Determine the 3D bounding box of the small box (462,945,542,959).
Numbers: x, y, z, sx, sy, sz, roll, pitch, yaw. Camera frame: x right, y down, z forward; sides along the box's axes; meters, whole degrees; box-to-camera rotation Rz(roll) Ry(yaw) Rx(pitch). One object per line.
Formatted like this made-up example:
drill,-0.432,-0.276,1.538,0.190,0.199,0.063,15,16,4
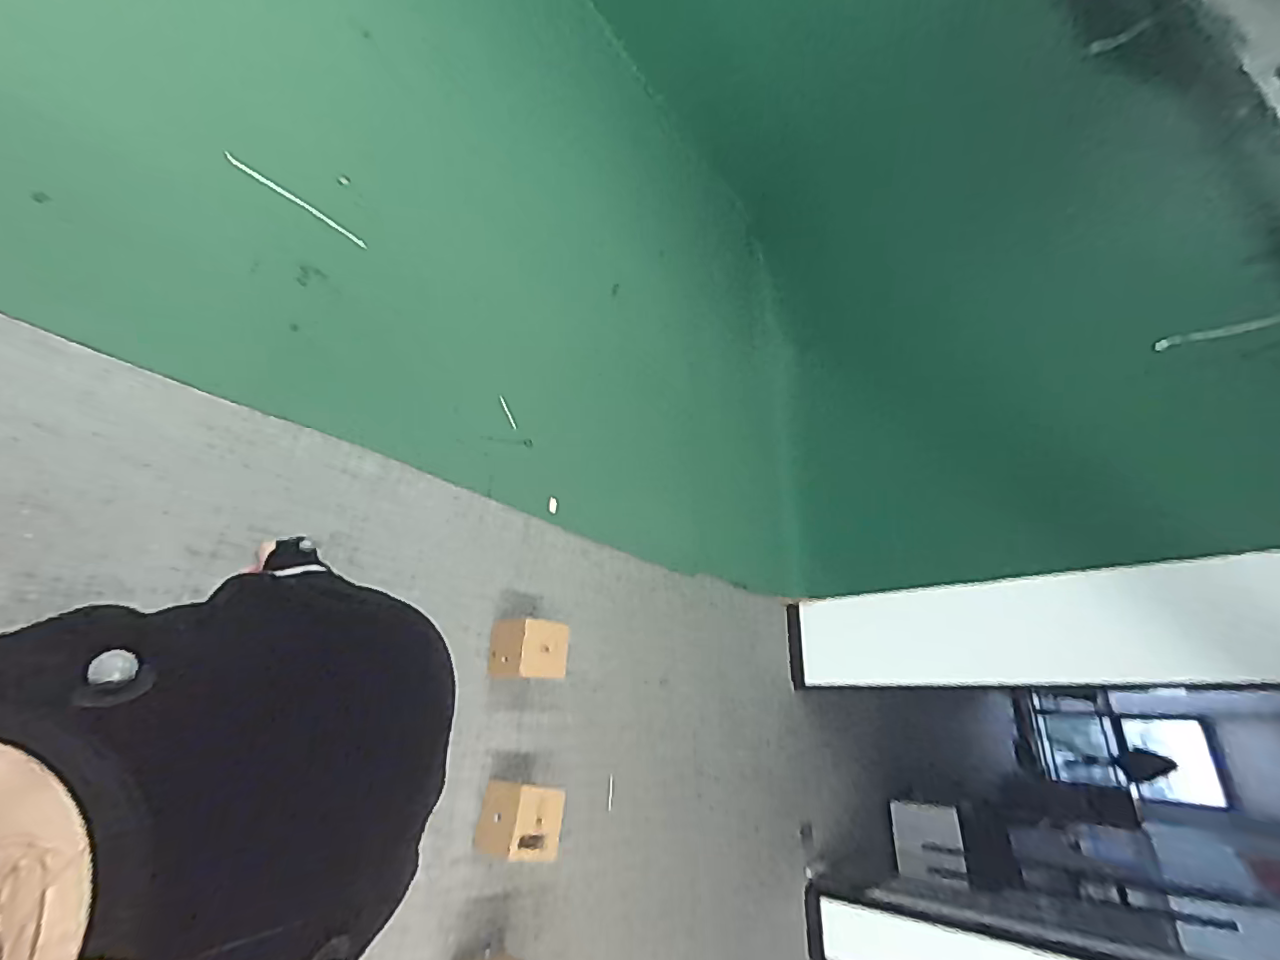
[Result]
small box,-0.365,1.312,1.365,0.179,0.176,0.168,29,56,-40

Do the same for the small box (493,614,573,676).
small box,-0.337,0.522,1.695,0.179,0.176,0.168,26,59,-43
